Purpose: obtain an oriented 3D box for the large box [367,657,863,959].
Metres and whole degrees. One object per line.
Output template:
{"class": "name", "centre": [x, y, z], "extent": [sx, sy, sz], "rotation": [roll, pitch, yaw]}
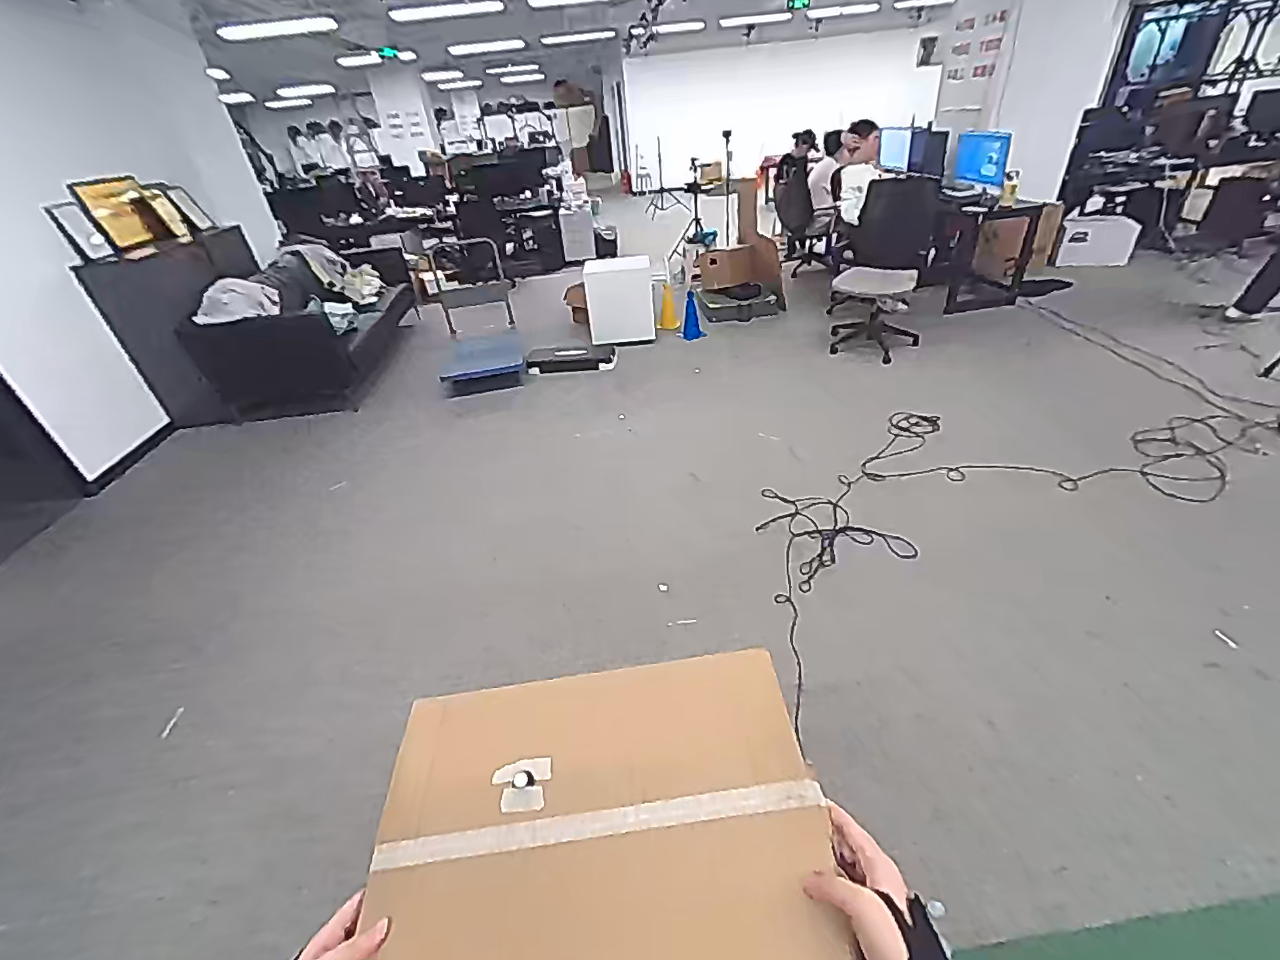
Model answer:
{"class": "large box", "centre": [-0.013, 0.441, 0.587], "extent": [0.408, 0.320, 0.320], "rotation": [-10, 38, 2]}
